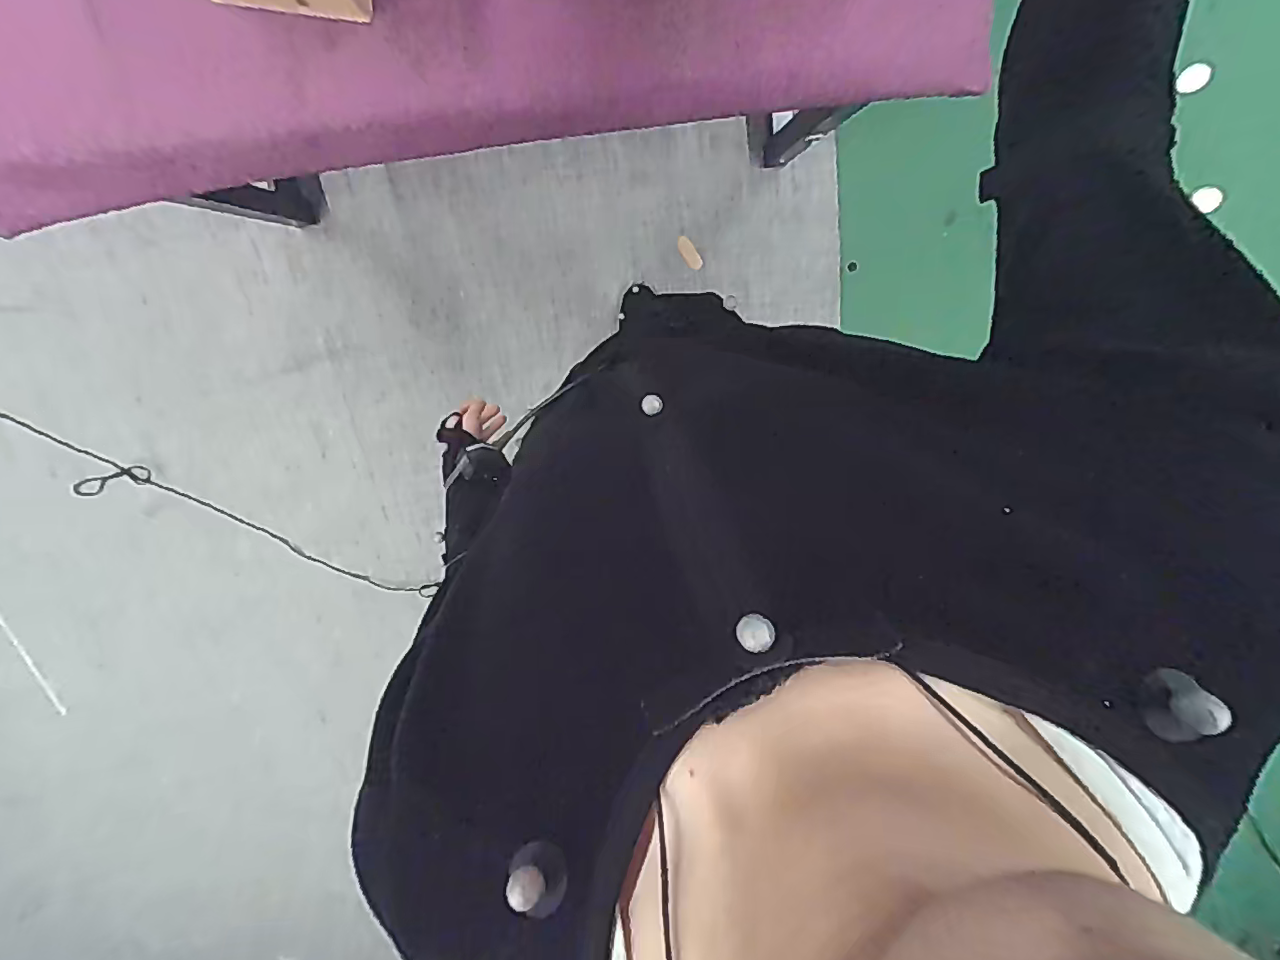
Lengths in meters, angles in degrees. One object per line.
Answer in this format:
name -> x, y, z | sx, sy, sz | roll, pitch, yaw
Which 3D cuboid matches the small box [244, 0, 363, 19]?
small box -> -0.362, -0.553, 0.474 | 0.168, 0.176, 0.179 | 4, 107, -5
